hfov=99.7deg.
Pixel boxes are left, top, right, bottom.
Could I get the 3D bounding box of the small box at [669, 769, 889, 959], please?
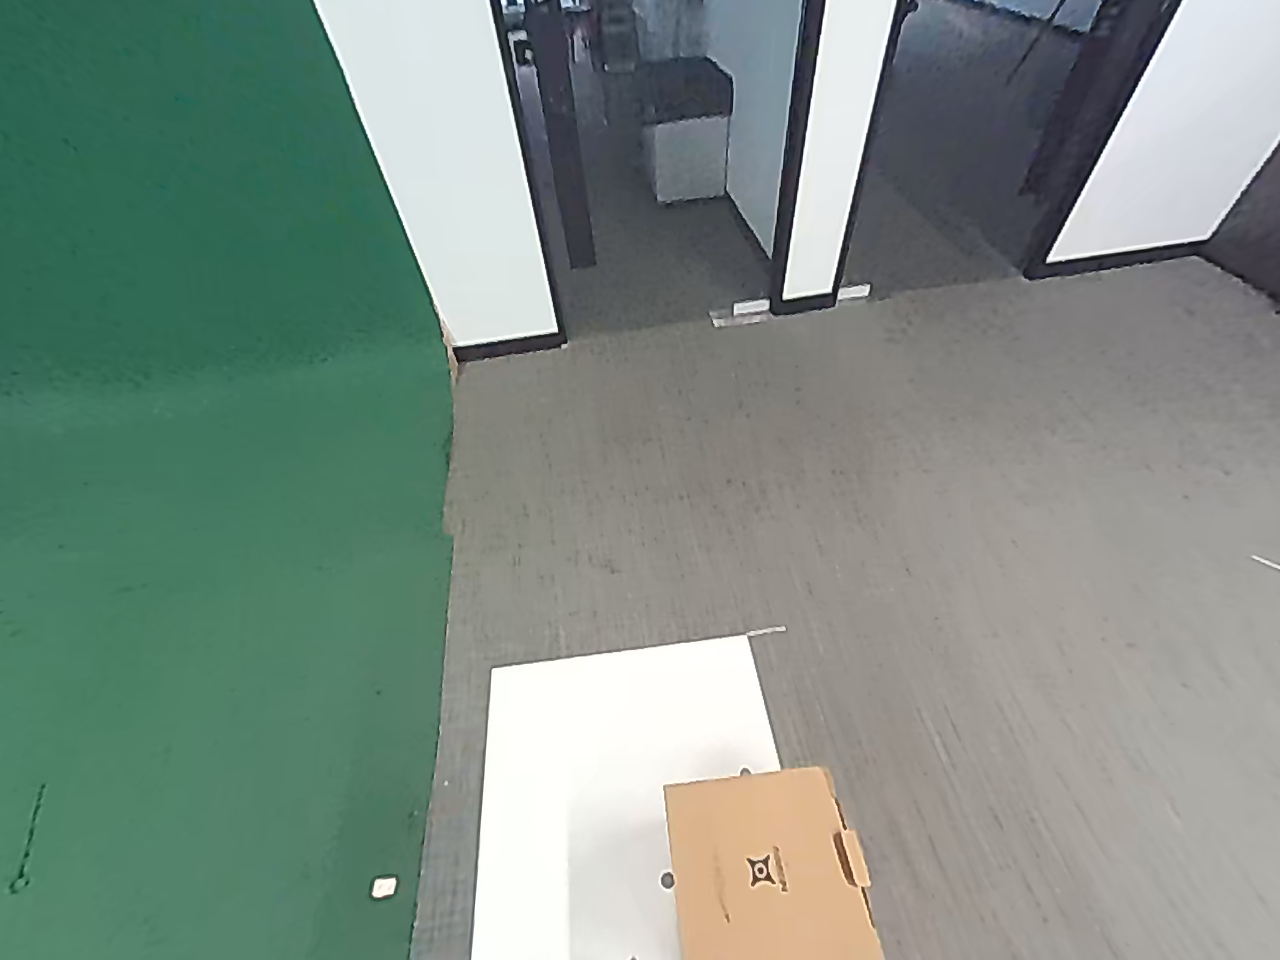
[{"bbox_3d":[0.128,0.424,0.571,0.179,0.176,0.168,-8,48,0],"label":"small box"}]
